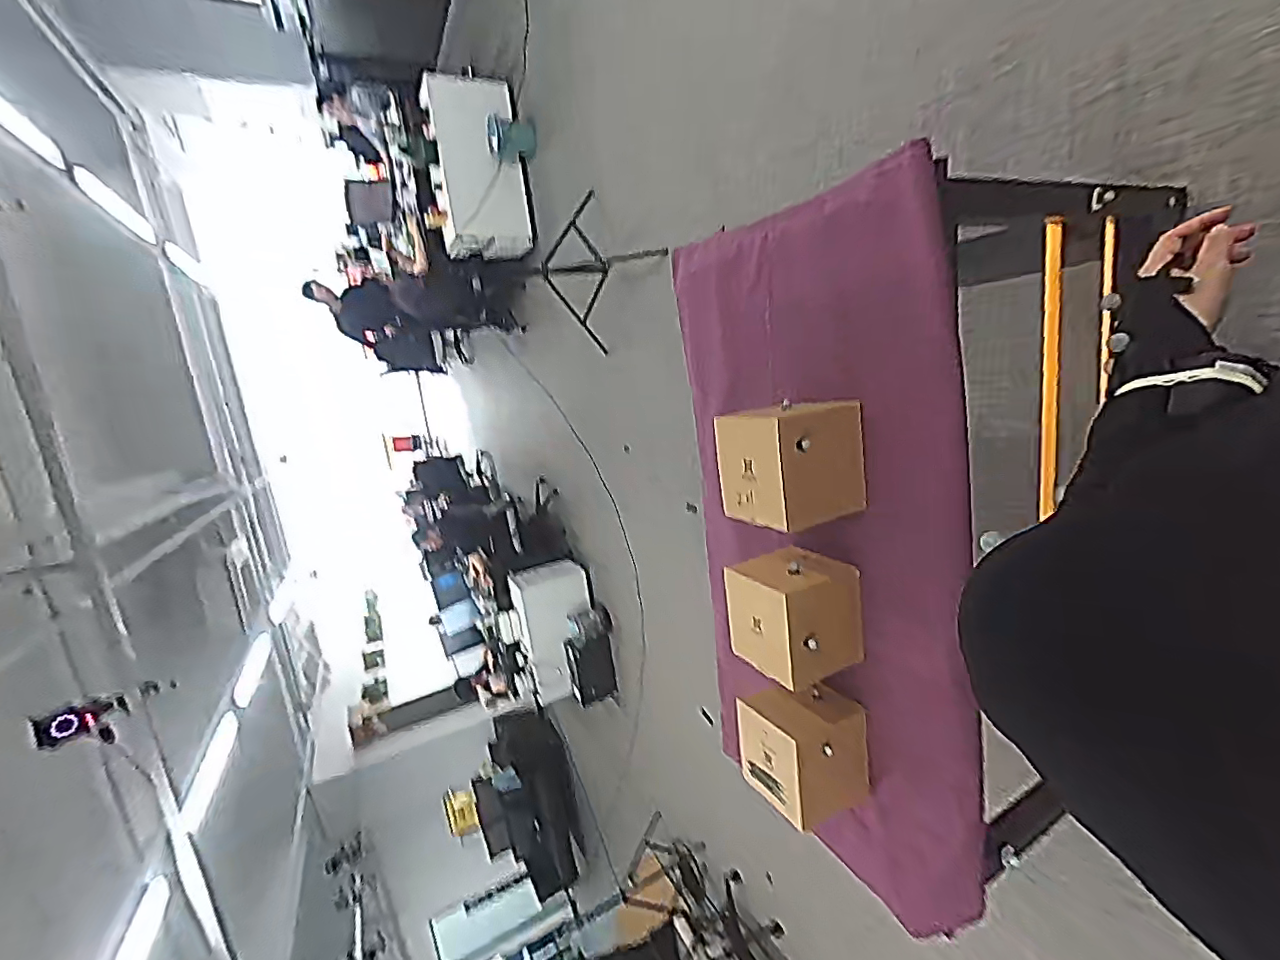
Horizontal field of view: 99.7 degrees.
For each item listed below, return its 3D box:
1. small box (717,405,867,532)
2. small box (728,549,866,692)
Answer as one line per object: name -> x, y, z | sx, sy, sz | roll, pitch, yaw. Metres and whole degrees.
small box -> 0.250, -0.030, 0.893 | 0.168, 0.176, 0.179 | 14, 115, 65
small box -> 0.281, 0.237, 0.967 | 0.168, 0.176, 0.179 | 14, 115, 63
